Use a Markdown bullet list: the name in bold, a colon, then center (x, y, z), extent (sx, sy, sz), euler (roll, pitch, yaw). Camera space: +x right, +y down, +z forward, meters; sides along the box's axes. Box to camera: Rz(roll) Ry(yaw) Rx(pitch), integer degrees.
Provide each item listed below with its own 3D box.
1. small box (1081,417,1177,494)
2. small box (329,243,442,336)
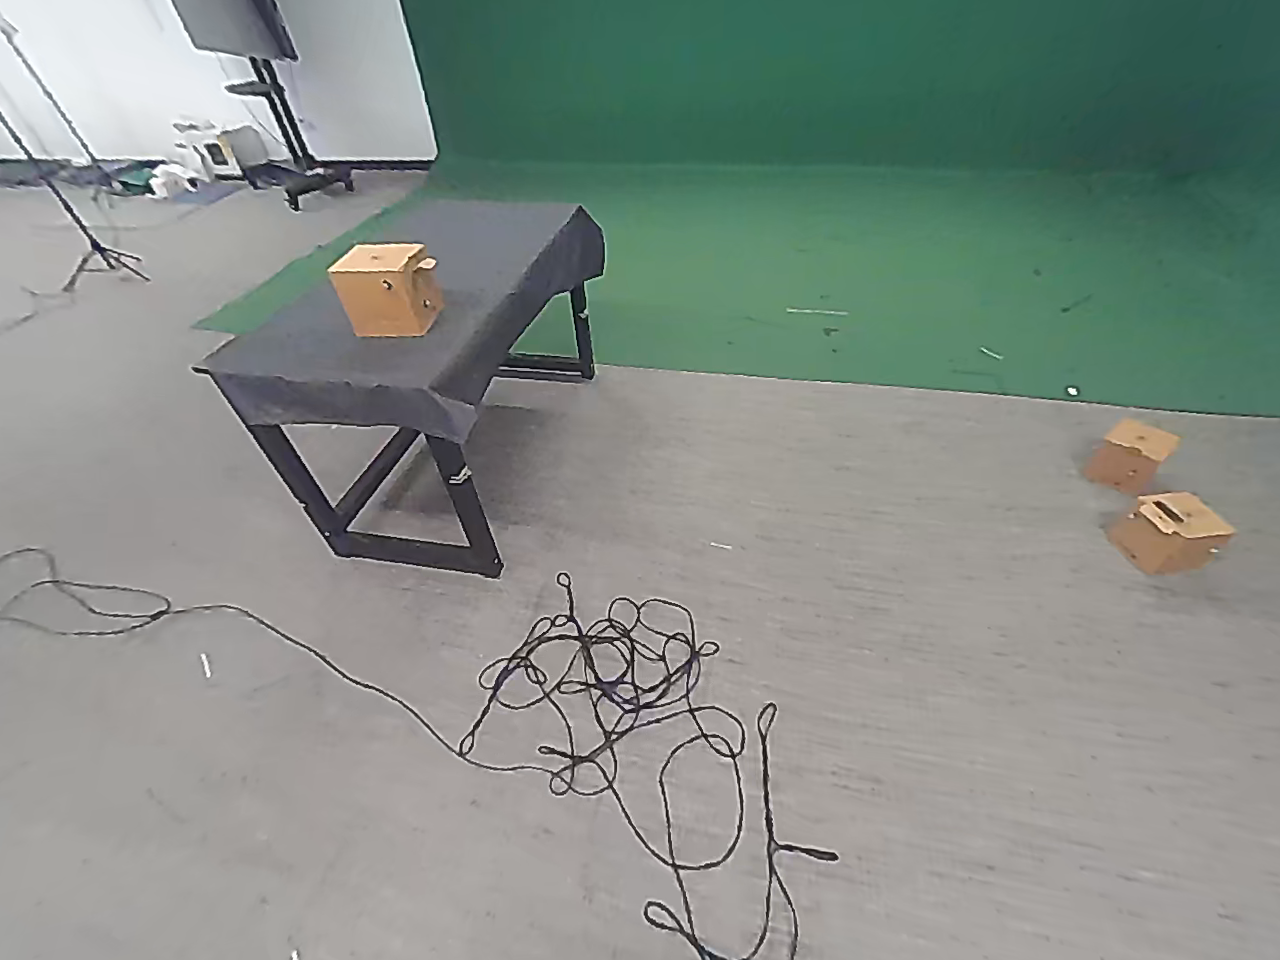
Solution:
- **small box**: center (1.659, -0.081, 1.845), extent (0.179, 0.176, 0.168), euler (-33, 52, -28)
- **small box**: center (-0.619, -0.470, 1.340), extent (0.179, 0.176, 0.168), euler (1, 44, 4)
